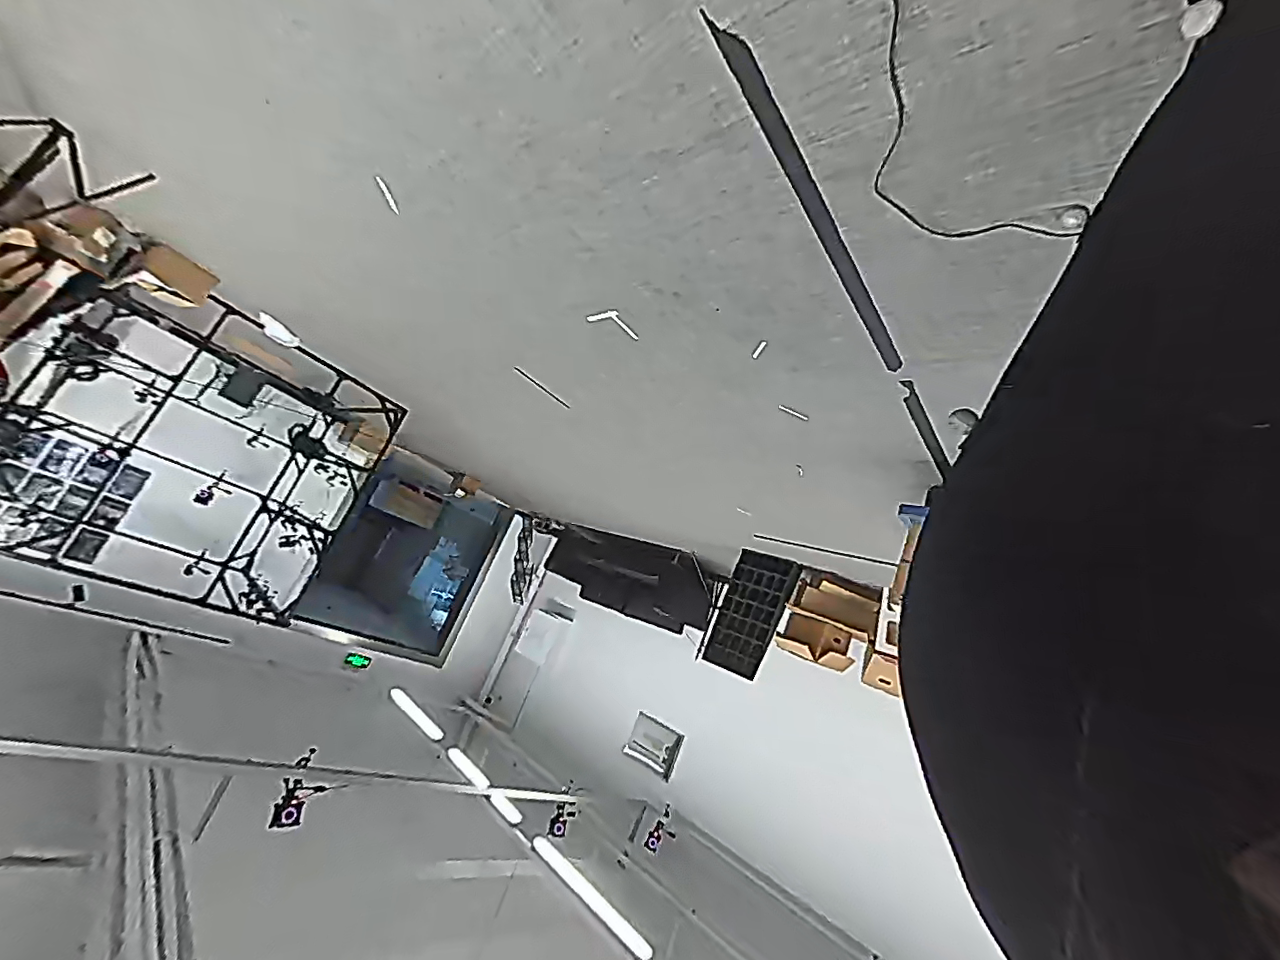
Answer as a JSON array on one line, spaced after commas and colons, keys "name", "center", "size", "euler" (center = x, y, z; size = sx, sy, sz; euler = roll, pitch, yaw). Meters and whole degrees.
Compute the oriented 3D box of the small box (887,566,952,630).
[{"name": "small box", "center": [1.044, 0.436, 2.009], "size": [0.179, 0.176, 0.168], "euler": [12, 163, 41]}]
